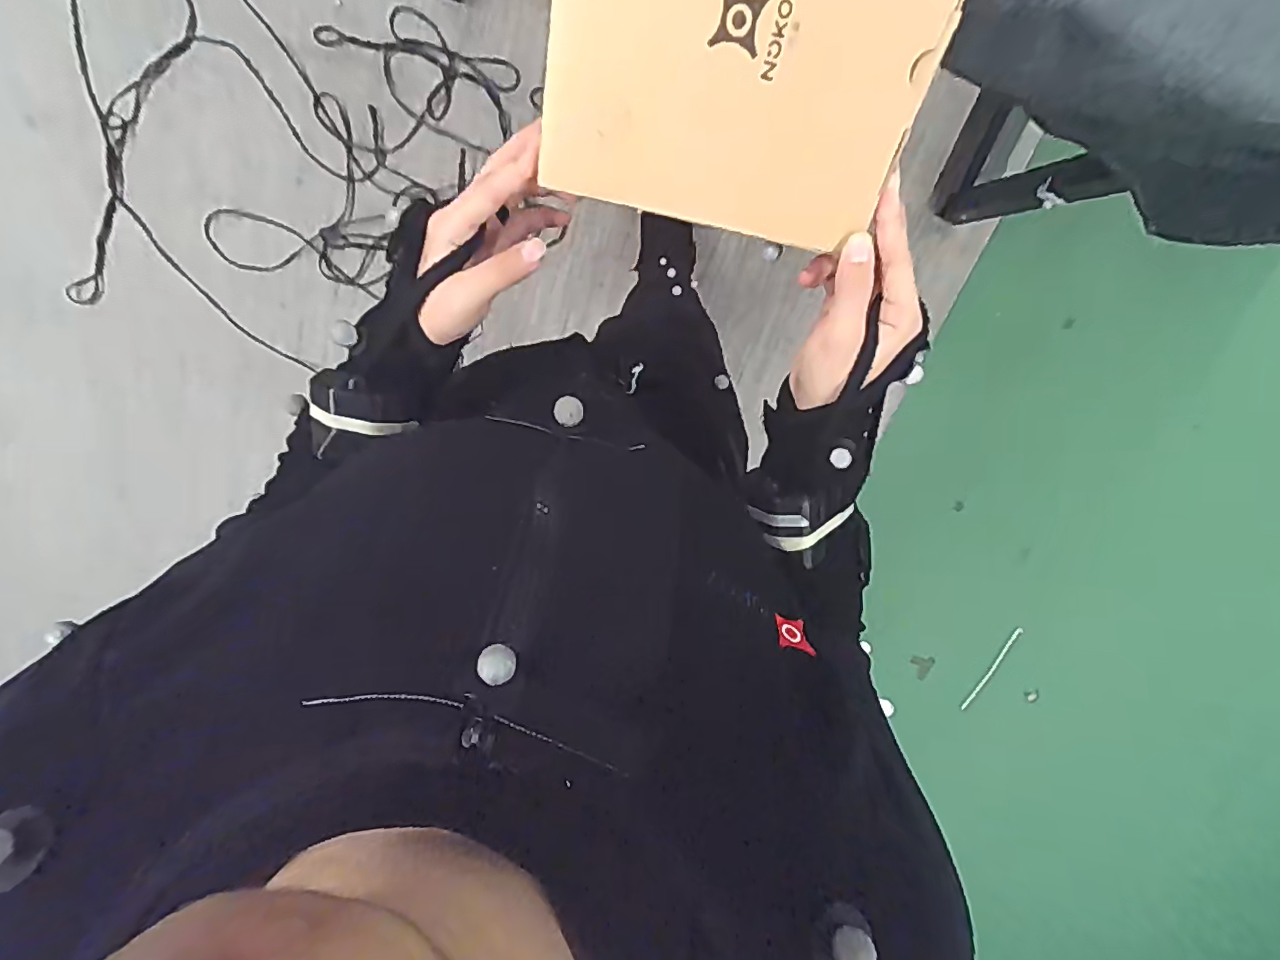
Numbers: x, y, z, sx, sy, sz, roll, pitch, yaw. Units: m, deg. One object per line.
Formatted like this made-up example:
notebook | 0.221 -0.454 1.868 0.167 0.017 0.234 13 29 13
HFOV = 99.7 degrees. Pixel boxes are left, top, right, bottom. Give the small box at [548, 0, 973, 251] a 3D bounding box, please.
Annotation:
small box | 0.057 -0.247 0.305 0.179 0.176 0.168 11 123 -5
